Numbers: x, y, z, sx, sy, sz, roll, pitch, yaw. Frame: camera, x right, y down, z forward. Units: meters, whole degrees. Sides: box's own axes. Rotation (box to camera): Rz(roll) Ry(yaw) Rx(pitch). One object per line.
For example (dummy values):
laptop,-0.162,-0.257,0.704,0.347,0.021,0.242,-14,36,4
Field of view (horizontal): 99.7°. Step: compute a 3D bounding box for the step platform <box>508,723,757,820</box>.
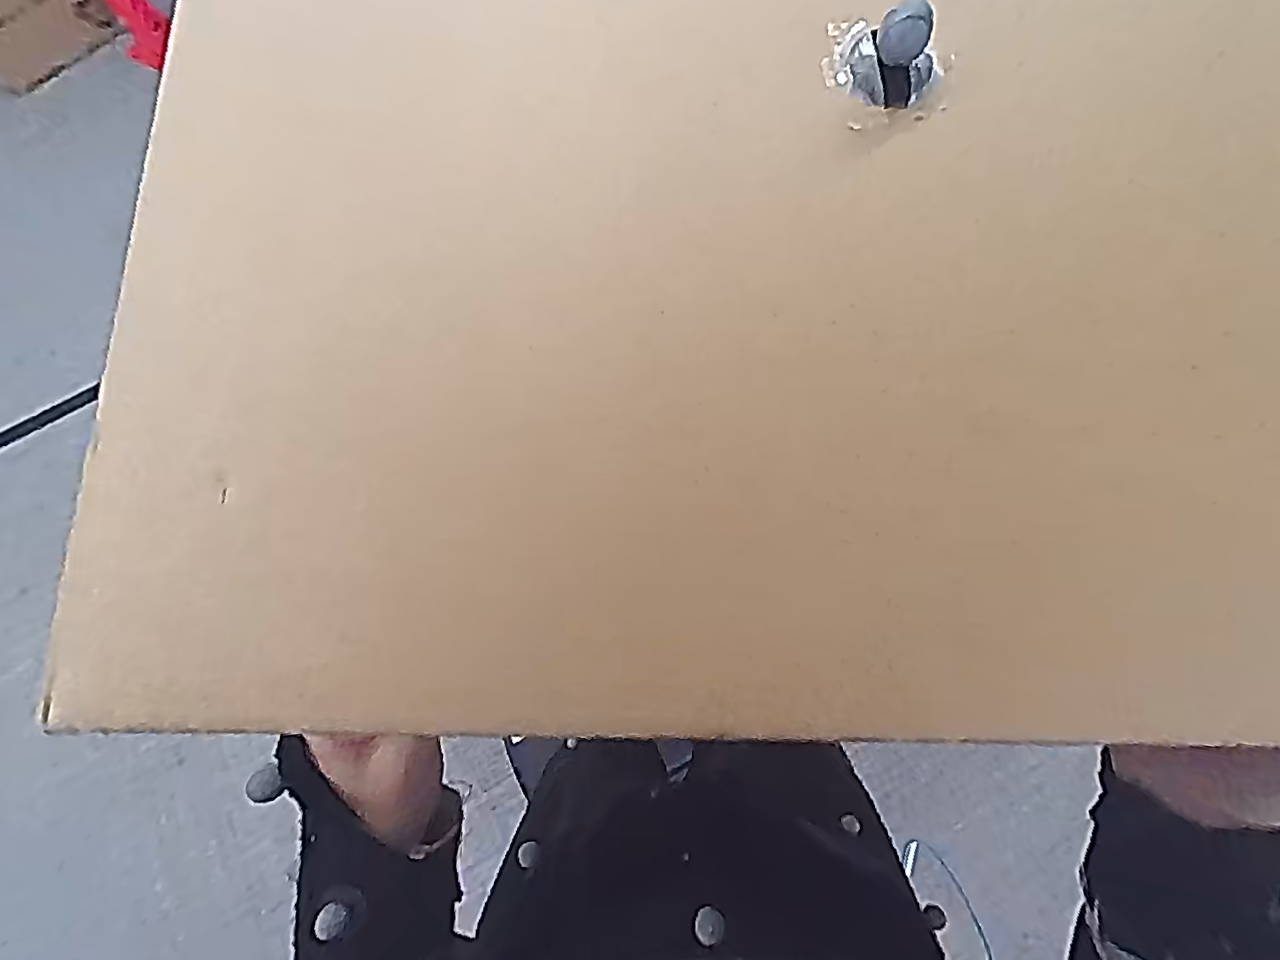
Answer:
step platform,0.039,0.499,1.270,0.684,0.204,0.286,-24,78,-5
